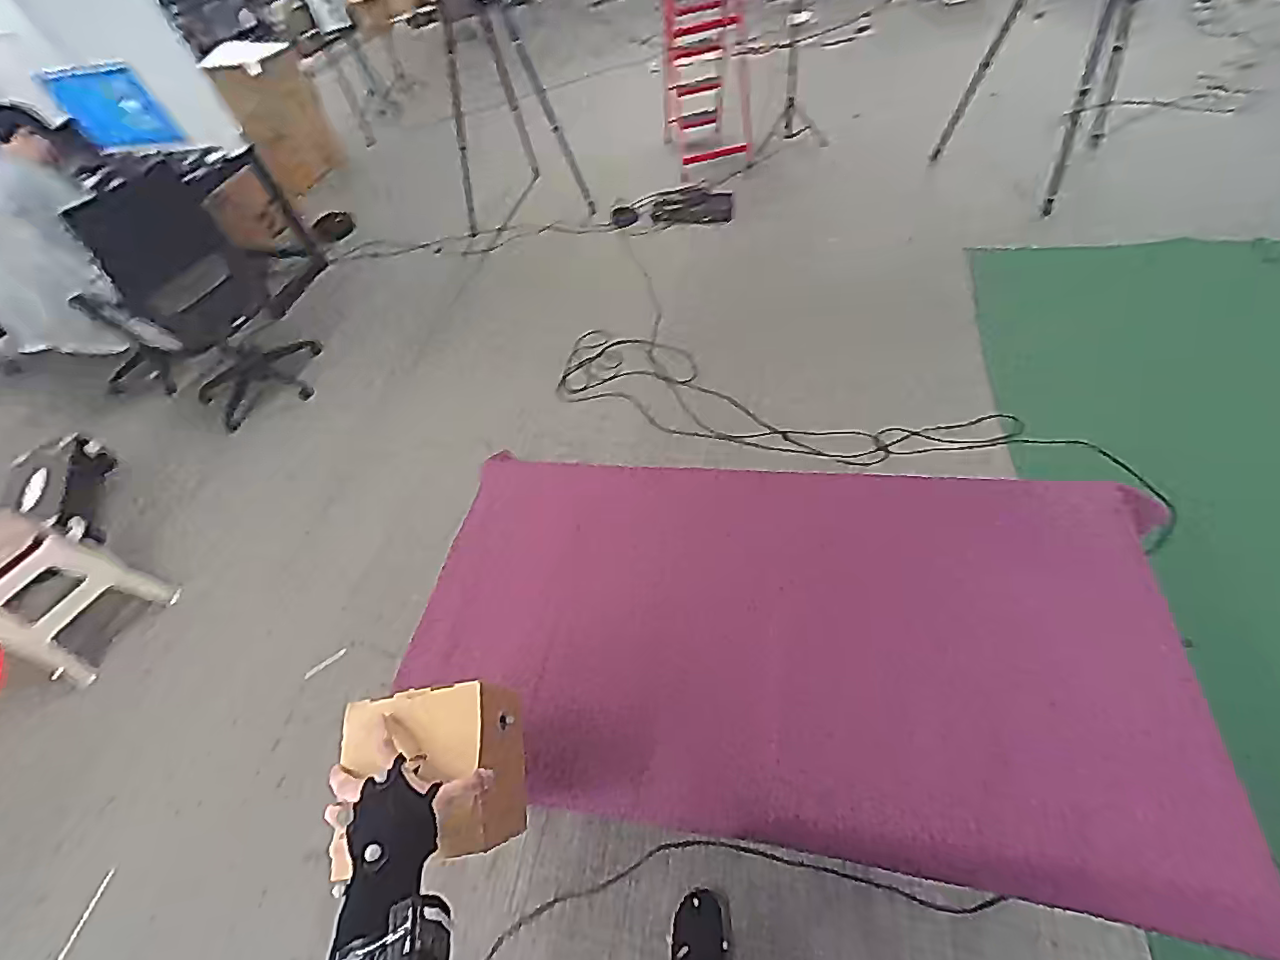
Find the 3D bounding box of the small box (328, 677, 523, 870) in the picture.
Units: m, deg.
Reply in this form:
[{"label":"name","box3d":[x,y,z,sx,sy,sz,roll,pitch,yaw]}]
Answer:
[{"label":"small box","box3d":[-0.250,0.358,0.674,0.168,0.176,0.179,-10,63,2]}]
